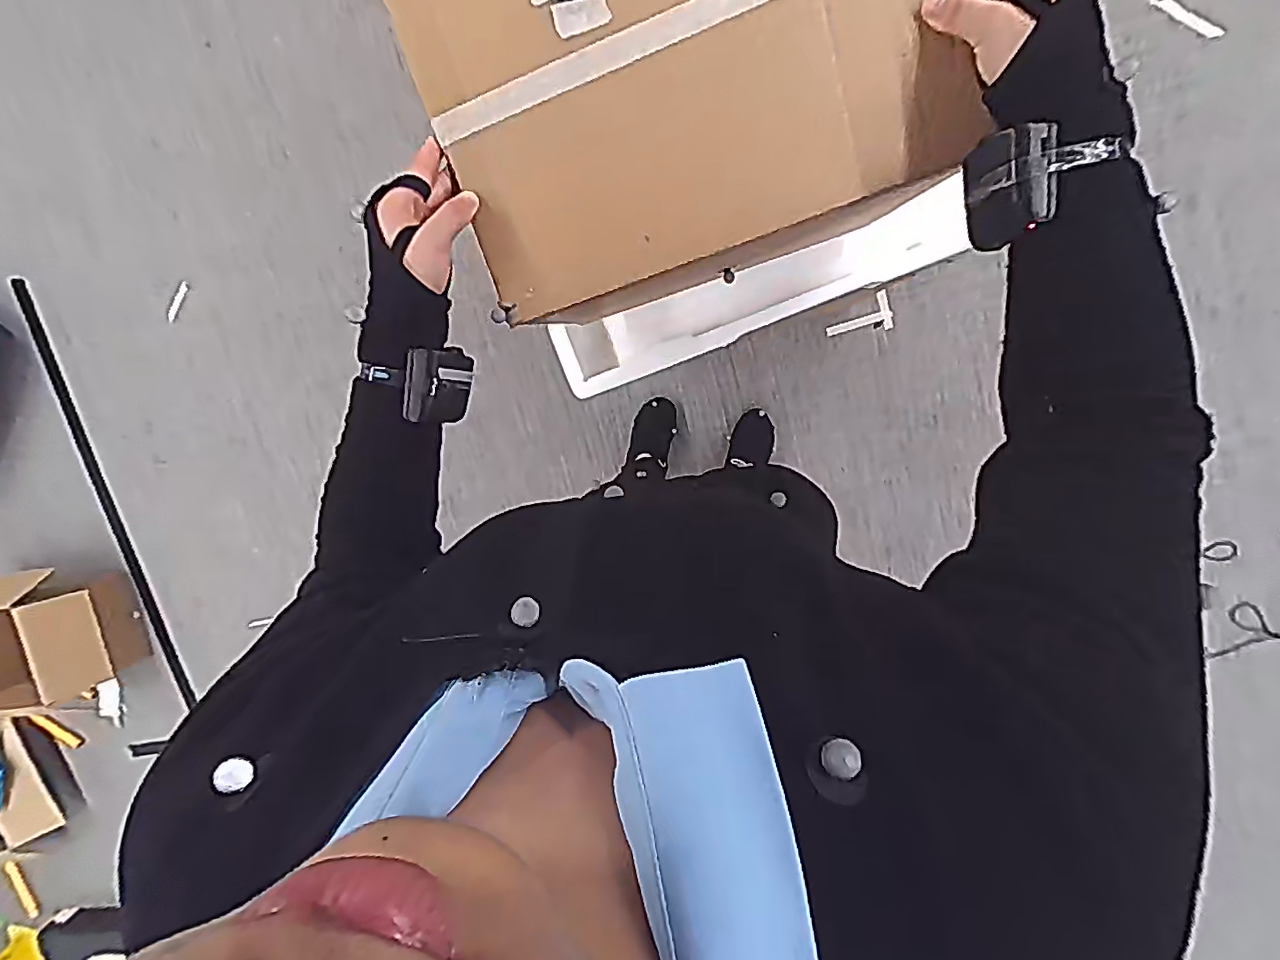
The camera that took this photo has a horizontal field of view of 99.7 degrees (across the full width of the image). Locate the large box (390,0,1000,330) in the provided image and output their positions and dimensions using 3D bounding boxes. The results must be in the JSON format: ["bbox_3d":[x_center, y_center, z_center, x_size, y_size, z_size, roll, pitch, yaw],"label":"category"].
[{"bbox_3d":[0.047,-0.368,0.540,0.408,0.320,0.320,-17,102,11],"label":"large box"}]
